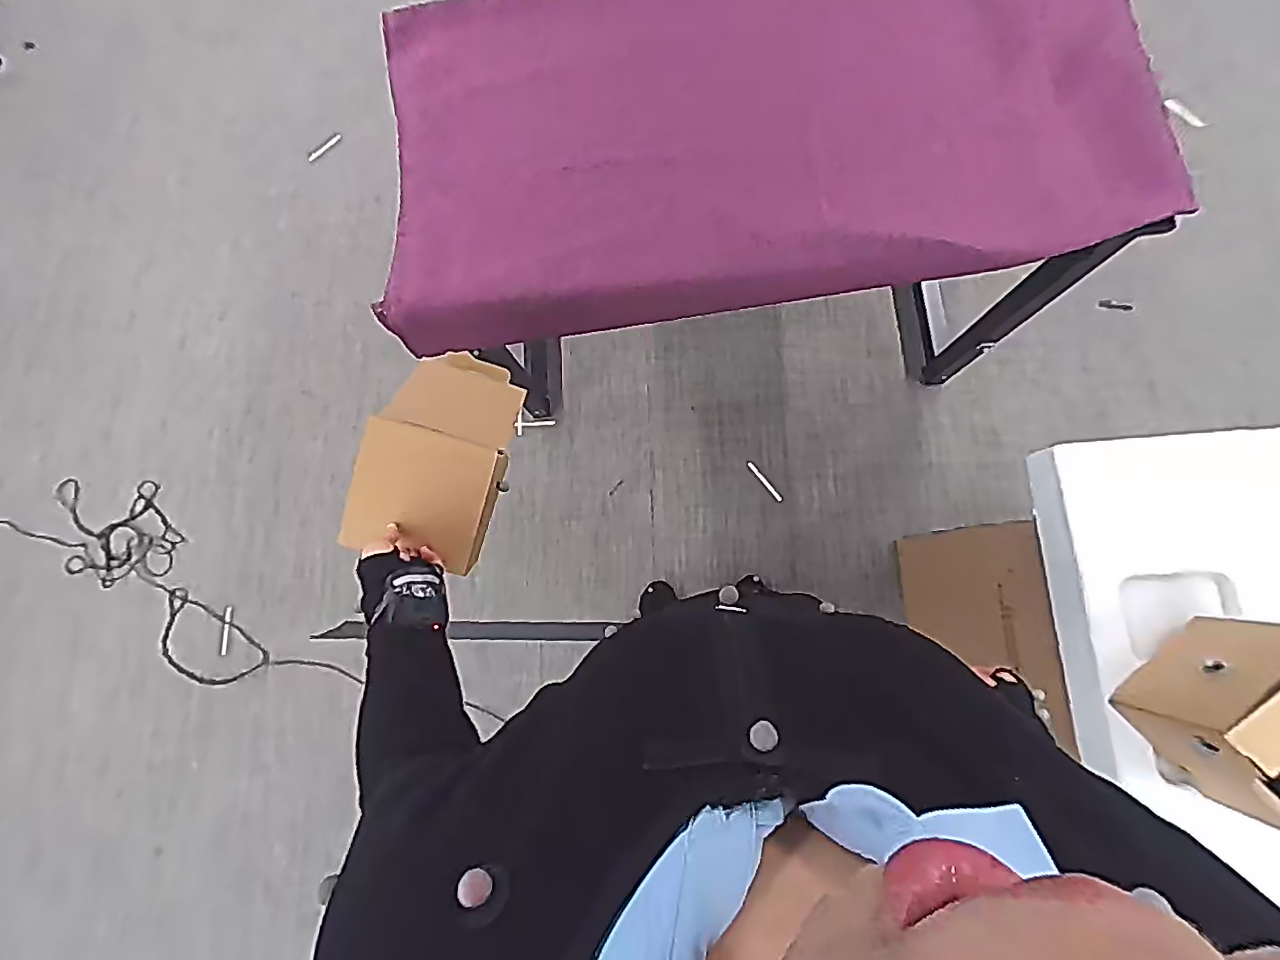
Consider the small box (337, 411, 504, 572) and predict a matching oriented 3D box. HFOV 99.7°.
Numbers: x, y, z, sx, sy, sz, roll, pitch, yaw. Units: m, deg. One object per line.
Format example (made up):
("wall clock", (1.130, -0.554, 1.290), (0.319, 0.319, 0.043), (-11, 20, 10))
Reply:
("small box", (-0.300, 0.017, 0.777), (0.168, 0.176, 0.179), (16, 87, -11))
